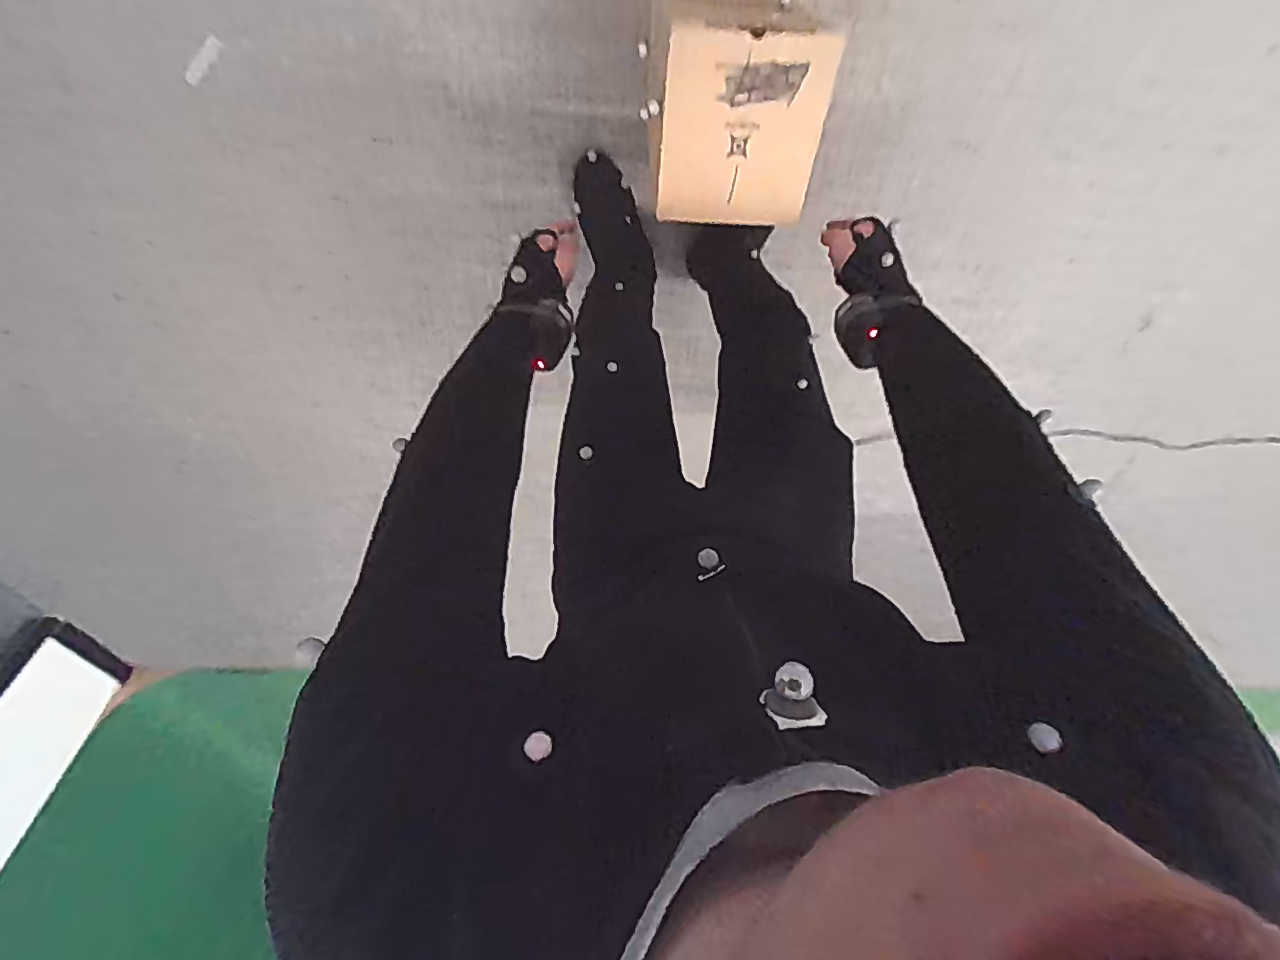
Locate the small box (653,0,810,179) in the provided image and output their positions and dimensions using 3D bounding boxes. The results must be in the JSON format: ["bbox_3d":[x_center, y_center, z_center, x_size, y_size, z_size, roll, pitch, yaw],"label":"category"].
[{"bbox_3d":[0.104,-0.521,0.710,0.168,0.176,0.179,1,134,-3],"label":"small box"}]
